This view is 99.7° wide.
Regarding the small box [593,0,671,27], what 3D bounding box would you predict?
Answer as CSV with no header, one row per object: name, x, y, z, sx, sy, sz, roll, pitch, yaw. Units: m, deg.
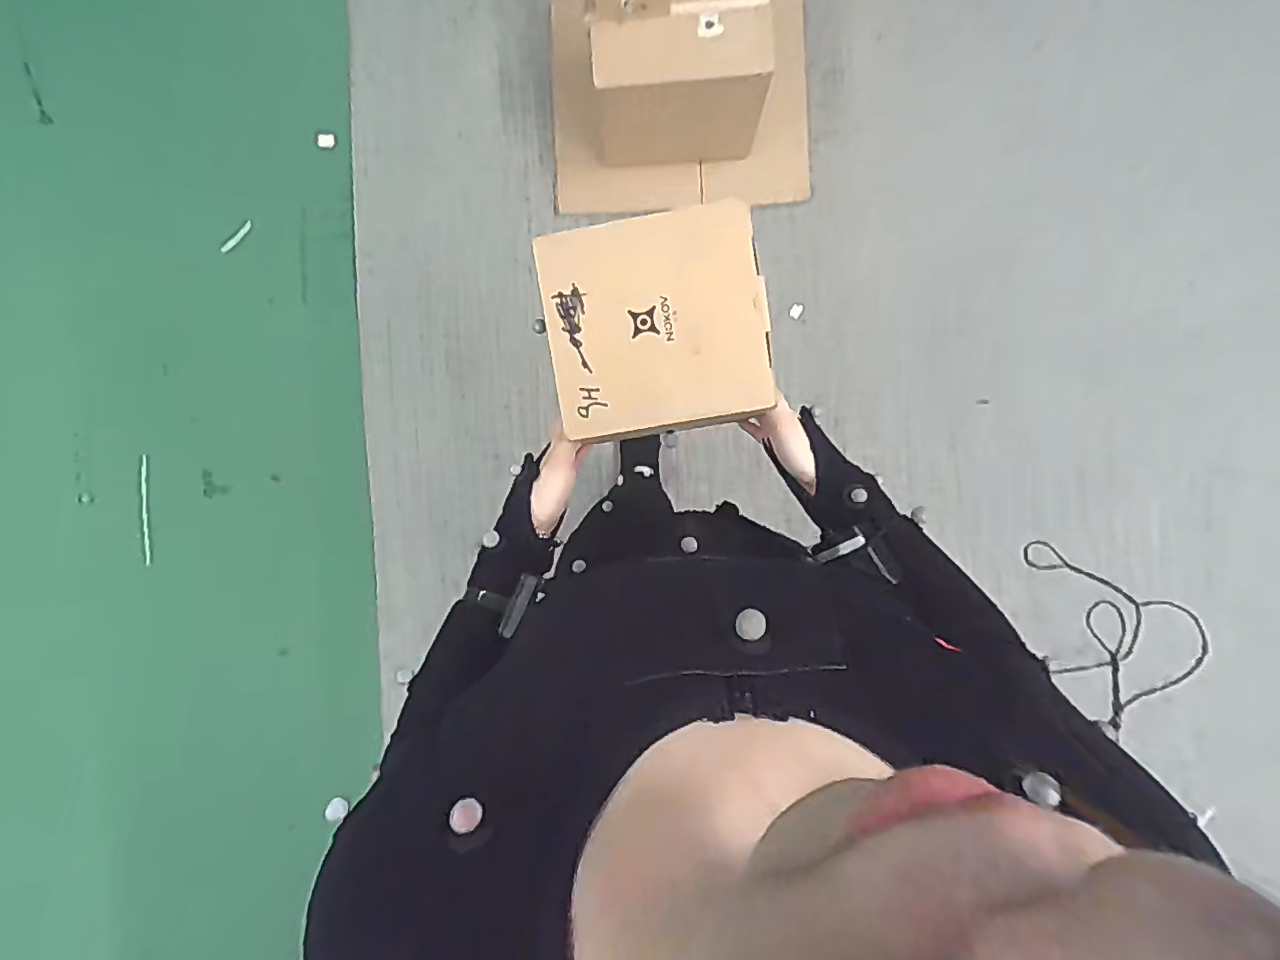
small box,-0.024,-1.088,1.107,0.168,0.176,0.179,-6,88,2

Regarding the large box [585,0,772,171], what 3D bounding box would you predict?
large box,0.083,-1.020,1.346,0.408,0.320,0.320,-4,89,0

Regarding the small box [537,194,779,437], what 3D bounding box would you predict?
small box,0.015,-0.135,0.505,0.179,0.176,0.168,-8,91,1
